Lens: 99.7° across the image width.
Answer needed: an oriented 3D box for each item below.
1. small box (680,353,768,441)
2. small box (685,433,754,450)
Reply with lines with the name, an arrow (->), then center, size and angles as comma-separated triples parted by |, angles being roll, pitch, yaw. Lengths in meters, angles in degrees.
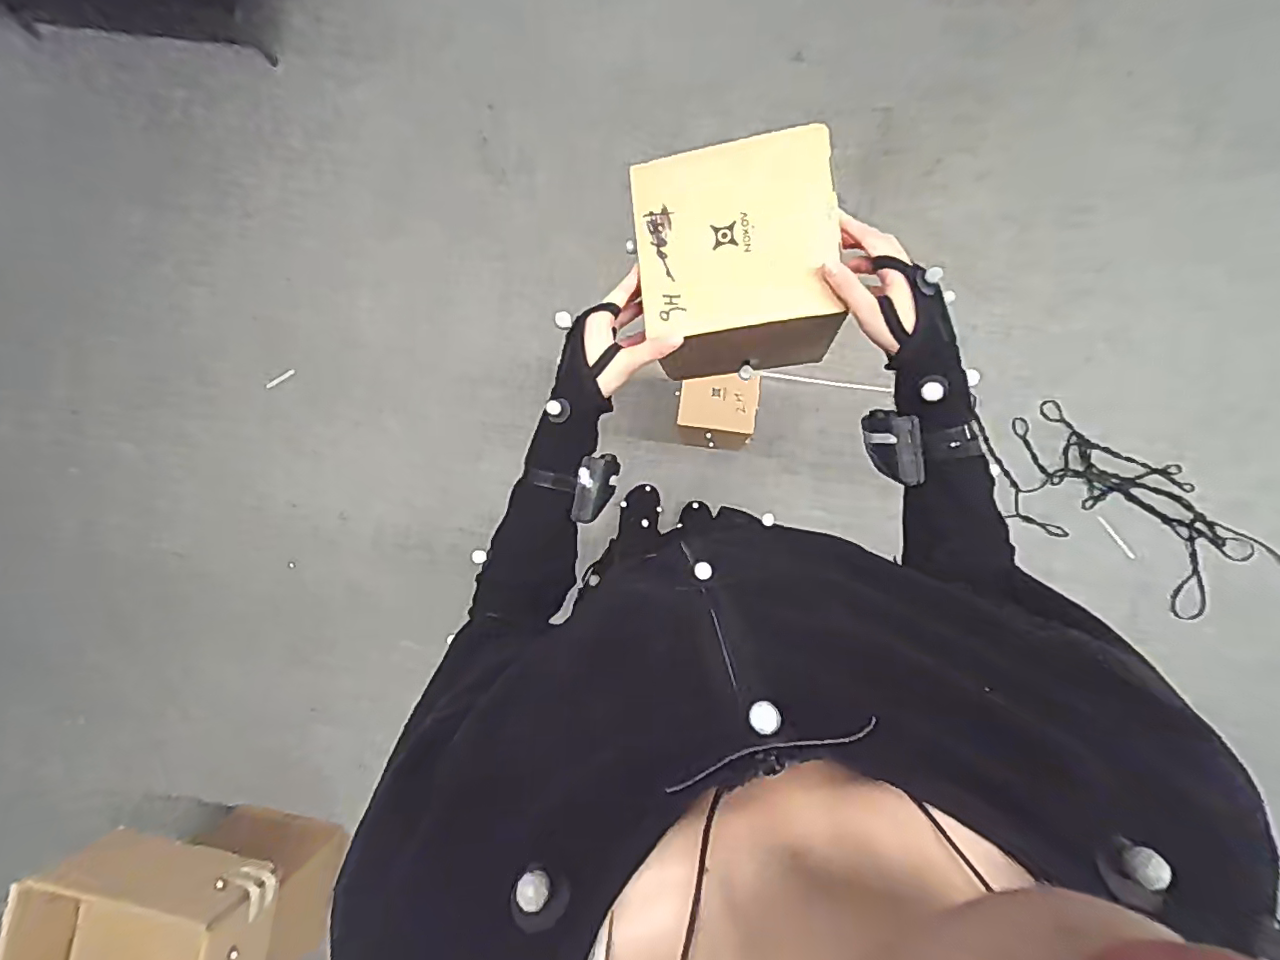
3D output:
small box -> 0.193, -0.190, 1.281 | 0.179, 0.176, 0.168 | 8, 88, 5
small box -> 0.216, -0.177, 1.444 | 0.179, 0.176, 0.168 | 8, 87, 4
